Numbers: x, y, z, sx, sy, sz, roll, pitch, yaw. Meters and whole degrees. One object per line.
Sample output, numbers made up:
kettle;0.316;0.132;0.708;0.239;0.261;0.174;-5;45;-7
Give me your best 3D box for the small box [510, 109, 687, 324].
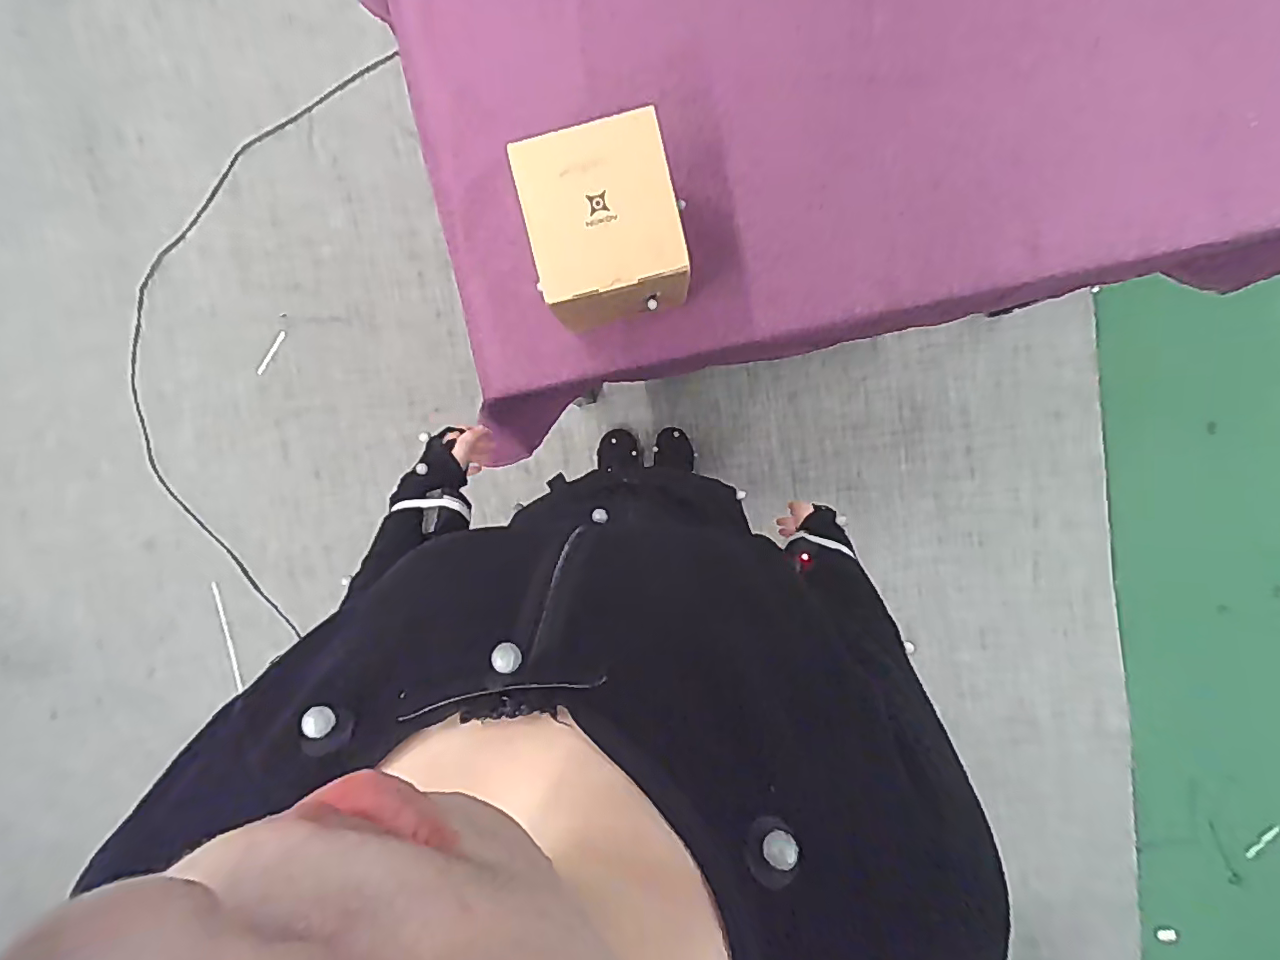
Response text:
small box;-0.041;-0.302;0.664;0.168;0.176;0.179;-13;94;2
